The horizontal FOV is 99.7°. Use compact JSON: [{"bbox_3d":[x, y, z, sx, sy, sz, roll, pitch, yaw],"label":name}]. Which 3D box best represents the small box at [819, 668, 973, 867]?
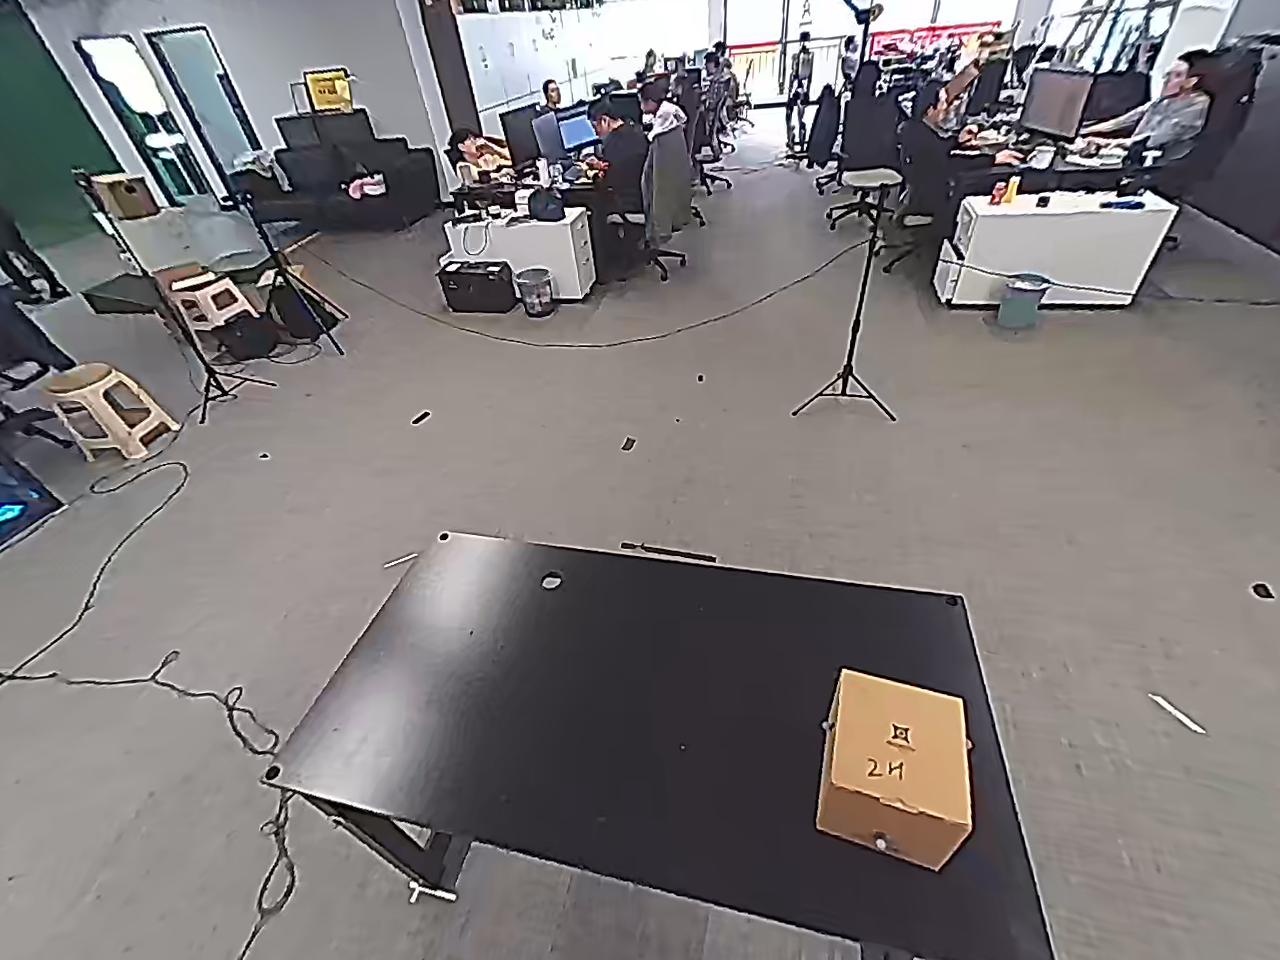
[{"bbox_3d":[0.360,0.411,0.780,0.168,0.176,0.179,10,43,20],"label":"small box"}]
